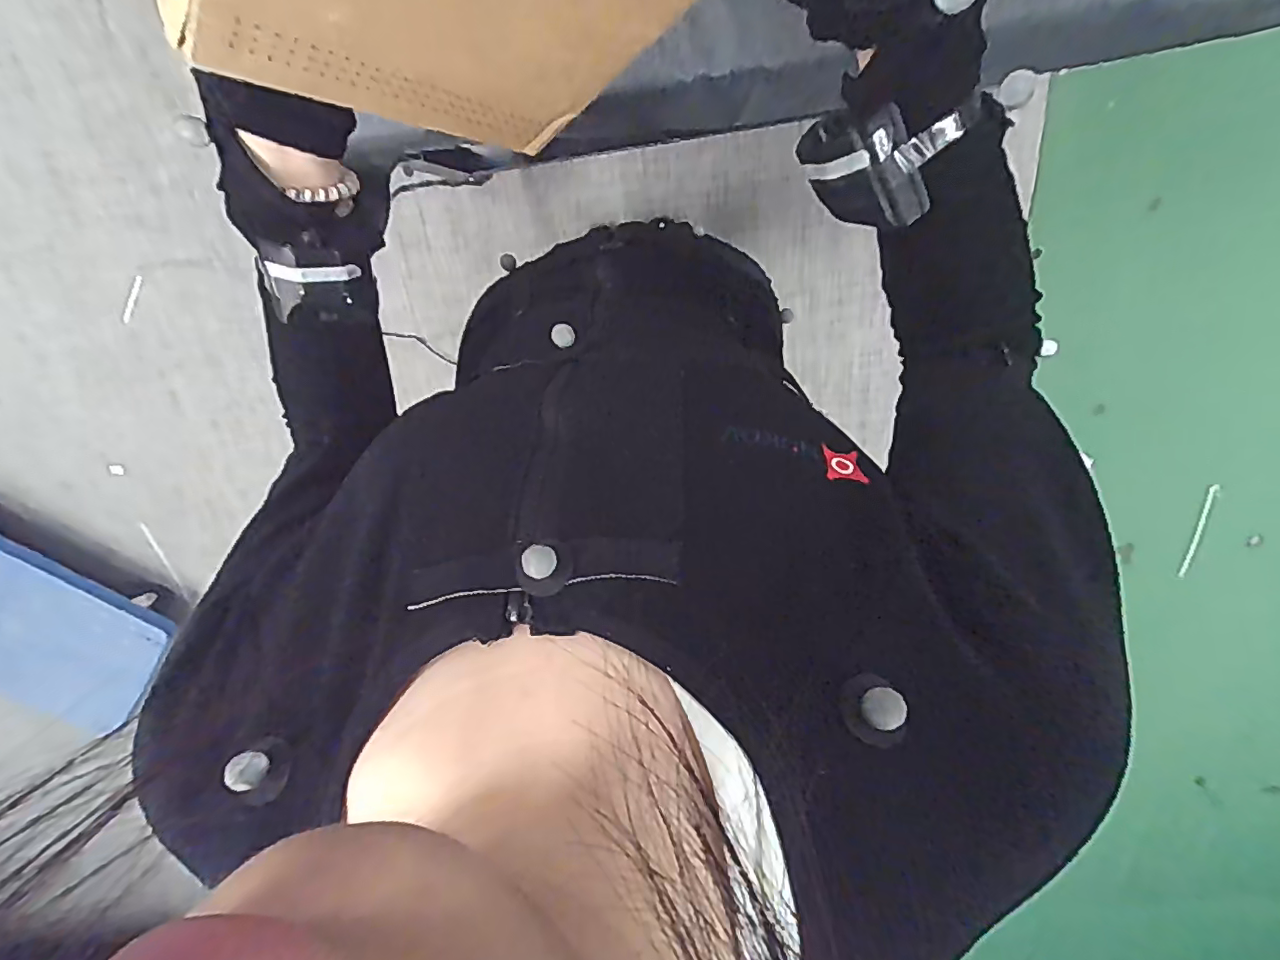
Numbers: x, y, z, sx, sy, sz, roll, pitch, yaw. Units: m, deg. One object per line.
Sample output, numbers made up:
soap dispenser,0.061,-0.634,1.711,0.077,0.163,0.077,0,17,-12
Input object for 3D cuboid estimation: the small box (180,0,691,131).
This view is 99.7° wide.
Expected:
small box,-0.080,-0.277,0.213,0.176,0.179,0.168,-9,96,45
